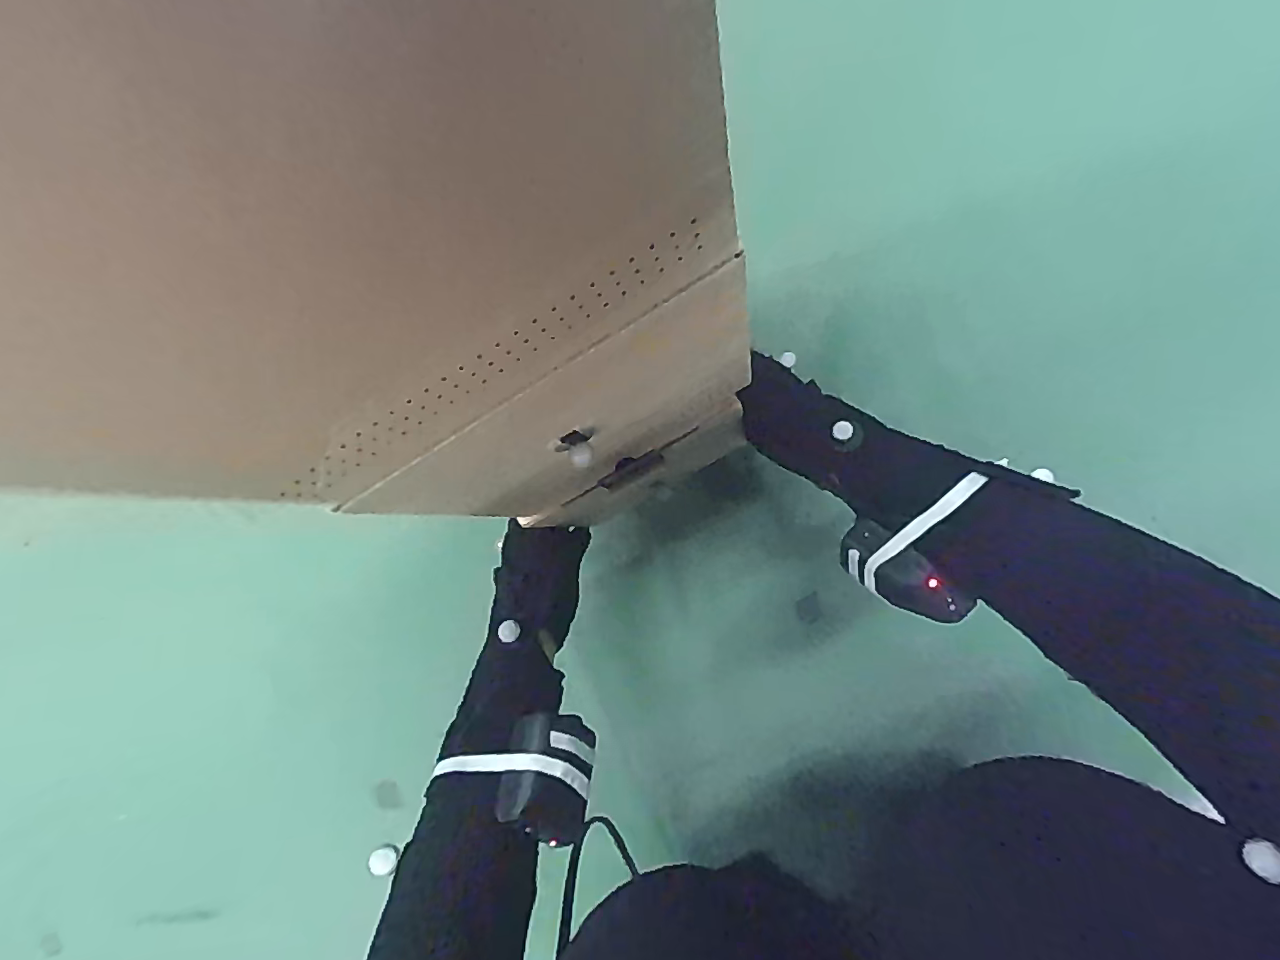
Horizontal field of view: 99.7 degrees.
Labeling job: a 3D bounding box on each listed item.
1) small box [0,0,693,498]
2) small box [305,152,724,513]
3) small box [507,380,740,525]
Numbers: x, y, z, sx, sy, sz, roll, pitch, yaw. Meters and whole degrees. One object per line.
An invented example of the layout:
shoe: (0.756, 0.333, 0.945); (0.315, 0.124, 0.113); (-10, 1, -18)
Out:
small box: (-0.107, -0.107, 0.122); (0.179, 0.176, 0.168); (-31, 78, 8)
small box: (-0.067, -0.094, 0.277); (0.179, 0.176, 0.168); (-27, 78, 9)
small box: (-0.032, -0.073, 0.439); (0.168, 0.176, 0.179); (-30, 80, 10)
